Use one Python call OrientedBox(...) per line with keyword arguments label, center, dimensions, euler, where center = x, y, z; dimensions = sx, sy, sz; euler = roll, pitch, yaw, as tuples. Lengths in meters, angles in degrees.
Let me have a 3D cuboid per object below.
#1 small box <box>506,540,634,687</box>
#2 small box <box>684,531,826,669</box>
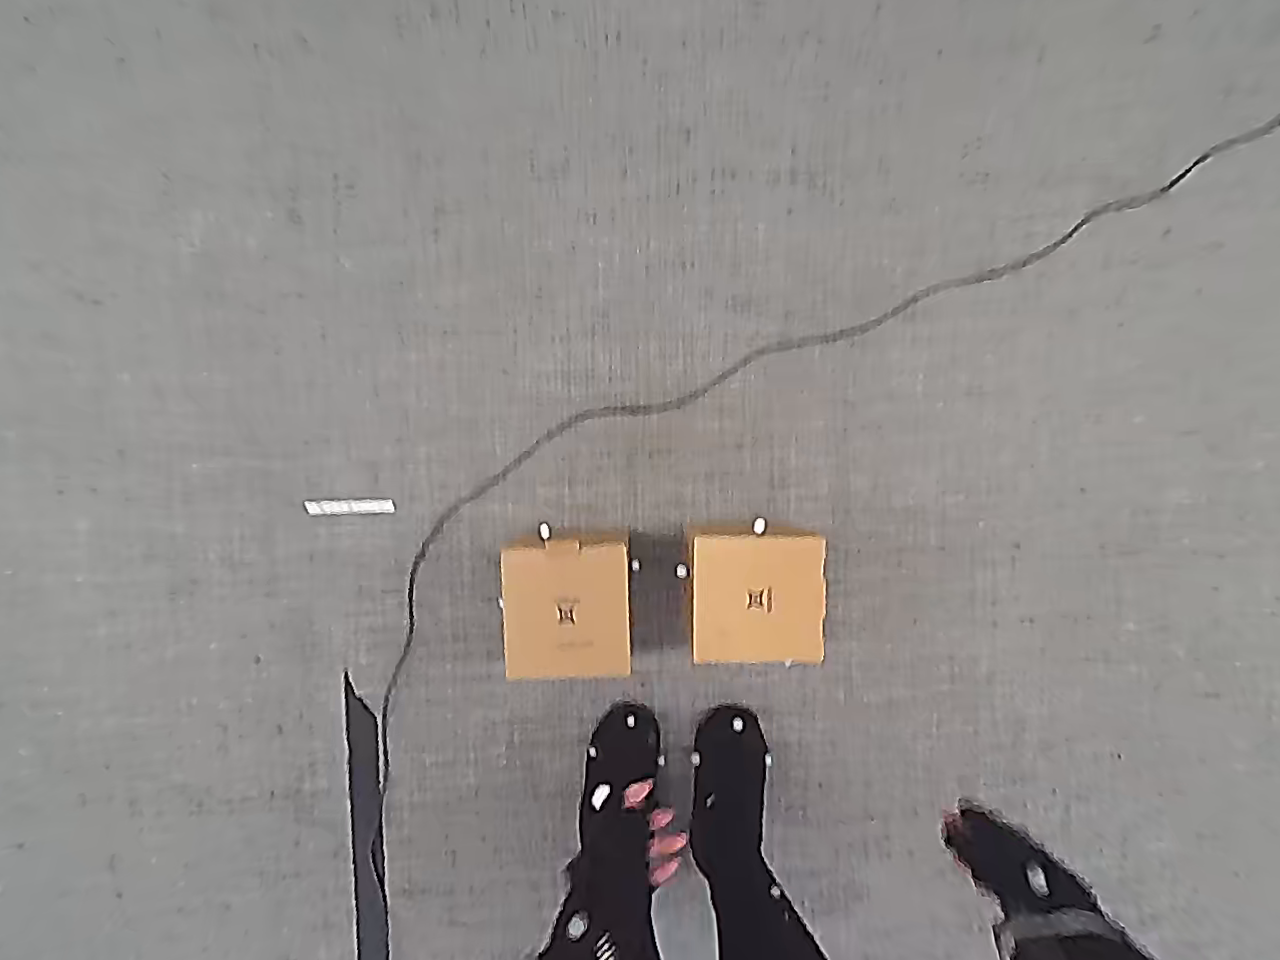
OrientedBox(label="small box", center=(-0.094, 0.181, 0.786), dimensions=(0.168, 0.176, 0.179), euler=(-2, 92, 0))
OrientedBox(label="small box", center=(0.157, 0.167, 0.790), dimensions=(0.179, 0.176, 0.168), euler=(0, 91, -2))
